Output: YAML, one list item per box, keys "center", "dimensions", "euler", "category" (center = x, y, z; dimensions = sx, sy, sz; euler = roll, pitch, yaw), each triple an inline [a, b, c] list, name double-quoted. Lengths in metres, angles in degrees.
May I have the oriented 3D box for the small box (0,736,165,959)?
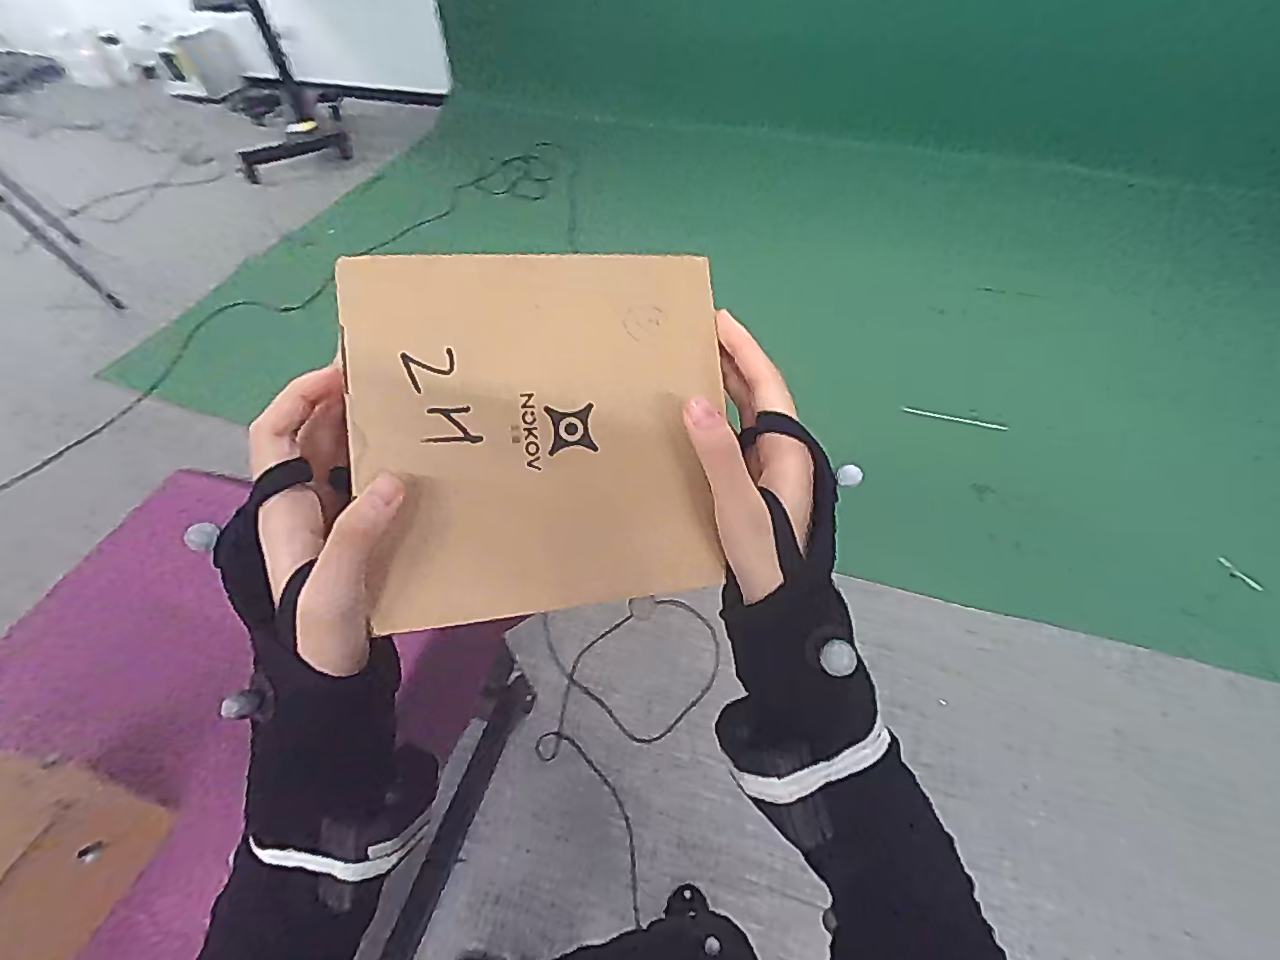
- center: [-0.662, 0.394, 0.566]
  dimensions: [0.168, 0.176, 0.179]
  euler: [15, 54, 13]
  category: "small box"

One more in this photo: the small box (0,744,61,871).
- center: [-0.659, 0.297, 0.433]
  dimensions: [0.168, 0.176, 0.179]
  euler: [17, 55, 14]
  category: "small box"

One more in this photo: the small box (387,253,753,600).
- center: [-0.048, -0.024, 0.347]
  dimensions: [0.179, 0.176, 0.168]
  euler: [-4, 85, -13]
  category: "small box"
